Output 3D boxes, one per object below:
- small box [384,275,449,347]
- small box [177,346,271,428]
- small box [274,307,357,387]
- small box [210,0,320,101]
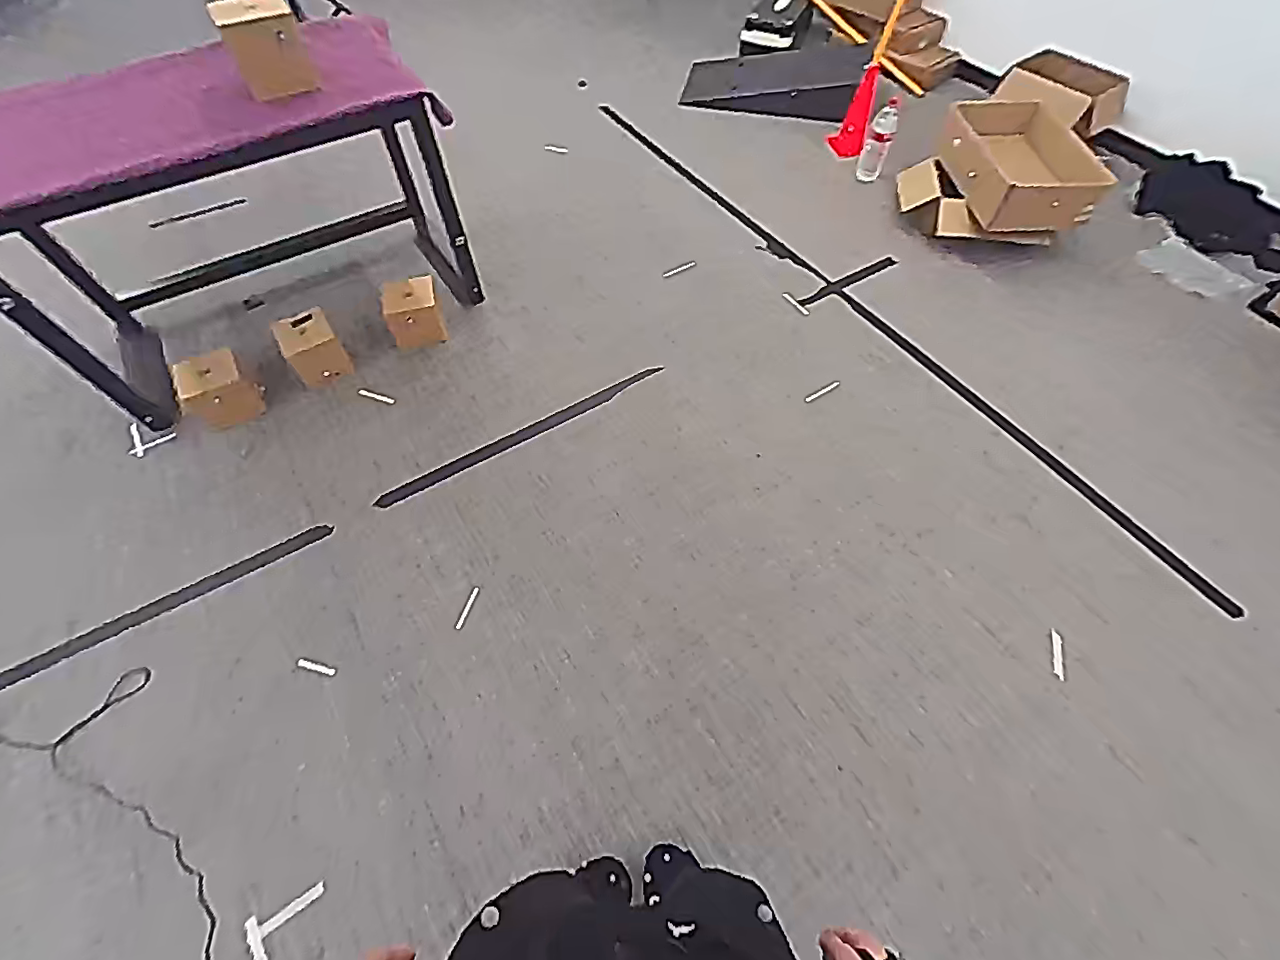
[{"bbox_3d":[-0.806,-0.609,1.961,0.179,0.176,0.168,-14,61,-7],"label":"small box"},{"bbox_3d":[-1.359,-0.299,1.772,0.179,0.176,0.168,-26,63,-16],"label":"small box"},{"bbox_3d":[-1.113,-0.455,1.865,0.168,0.176,0.179,-30,65,-17],"label":"small box"},{"bbox_3d":[-0.979,-1.144,1.429,0.179,0.176,0.168,-28,62,-15],"label":"small box"}]
